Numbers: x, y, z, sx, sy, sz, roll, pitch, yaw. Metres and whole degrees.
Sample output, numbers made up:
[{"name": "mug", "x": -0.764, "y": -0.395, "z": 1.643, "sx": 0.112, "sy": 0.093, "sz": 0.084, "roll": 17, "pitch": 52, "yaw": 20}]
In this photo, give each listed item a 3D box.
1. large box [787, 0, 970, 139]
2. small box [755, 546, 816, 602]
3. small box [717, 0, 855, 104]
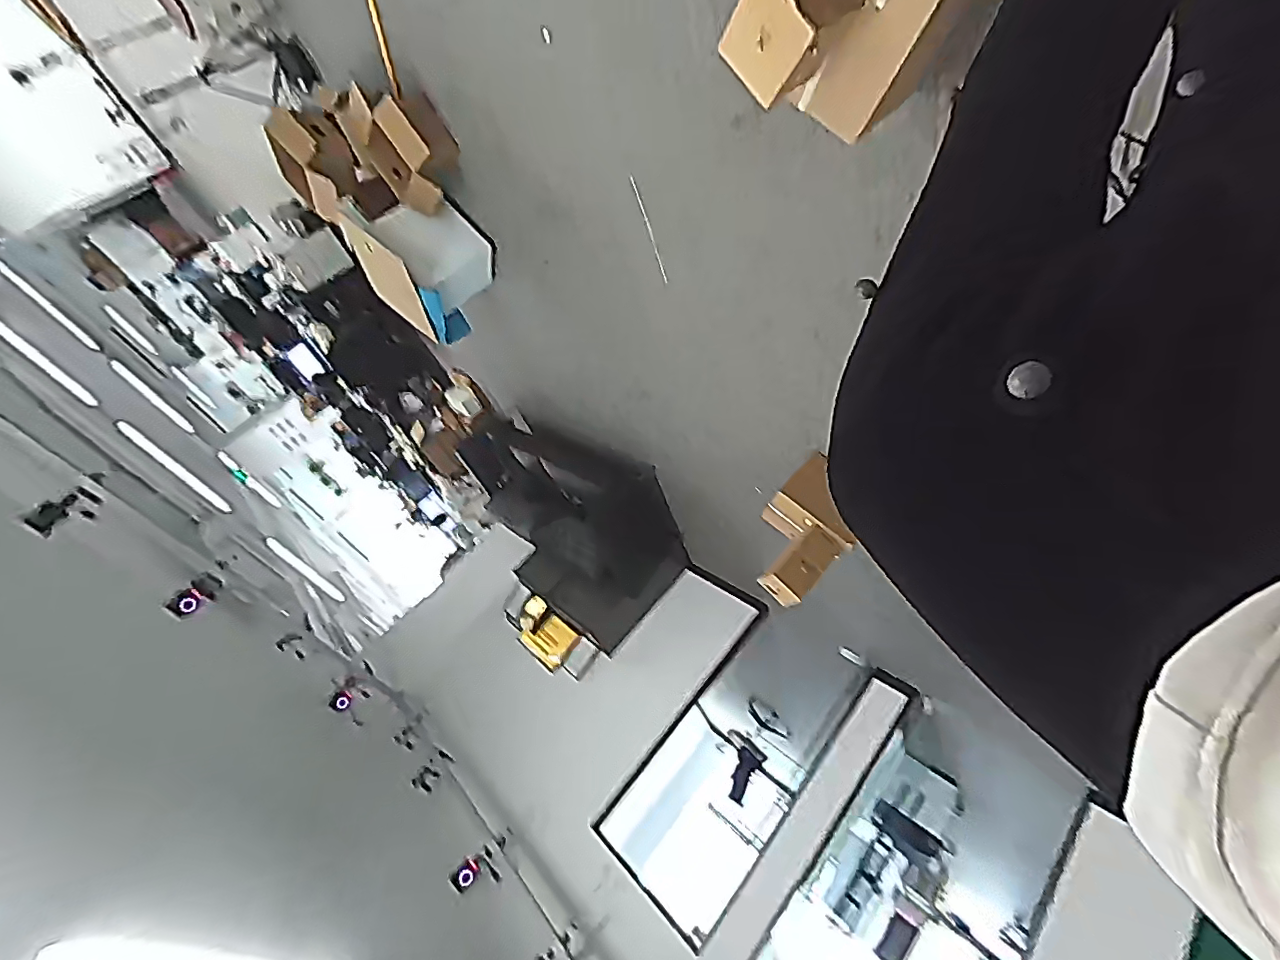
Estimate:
[{"name": "large box", "x": 0.511, "y": -1.048, "z": 1.135, "sx": 0.320, "sy": 0.320, "sz": 0.408, "roll": 42, "pitch": 158, "yaw": 6}, {"name": "small box", "x": 0.653, "y": 0.420, "z": 2.421, "sx": 0.168, "sy": 0.176, "sz": 0.179, "roll": 44, "pitch": 157, "yaw": 4}, {"name": "small box", "x": 0.294, "y": -0.922, "z": 1.089, "sx": 0.168, "sy": 0.176, "sz": 0.179, "roll": 49, "pitch": 159, "yaw": -4}]
